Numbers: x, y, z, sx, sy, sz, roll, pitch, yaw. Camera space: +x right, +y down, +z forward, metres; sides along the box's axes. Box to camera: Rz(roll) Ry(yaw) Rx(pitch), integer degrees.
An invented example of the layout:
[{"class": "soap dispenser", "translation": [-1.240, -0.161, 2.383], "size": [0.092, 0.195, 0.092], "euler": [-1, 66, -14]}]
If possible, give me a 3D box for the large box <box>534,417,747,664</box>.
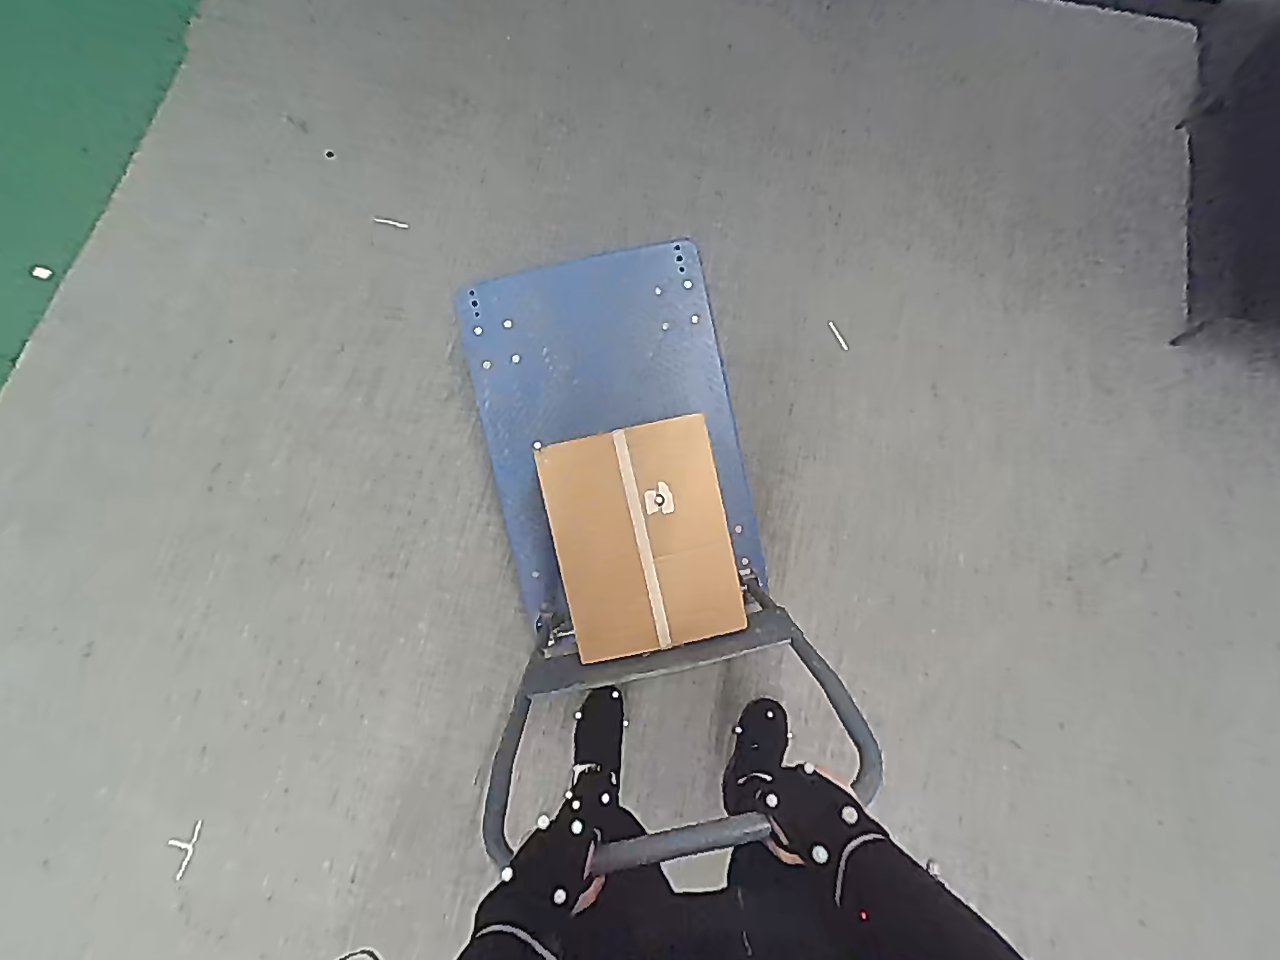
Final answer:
[{"class": "large box", "translation": [0.003, 0.107, 1.127], "size": [0.320, 0.320, 0.408], "euler": [-13, 92, -1]}]
